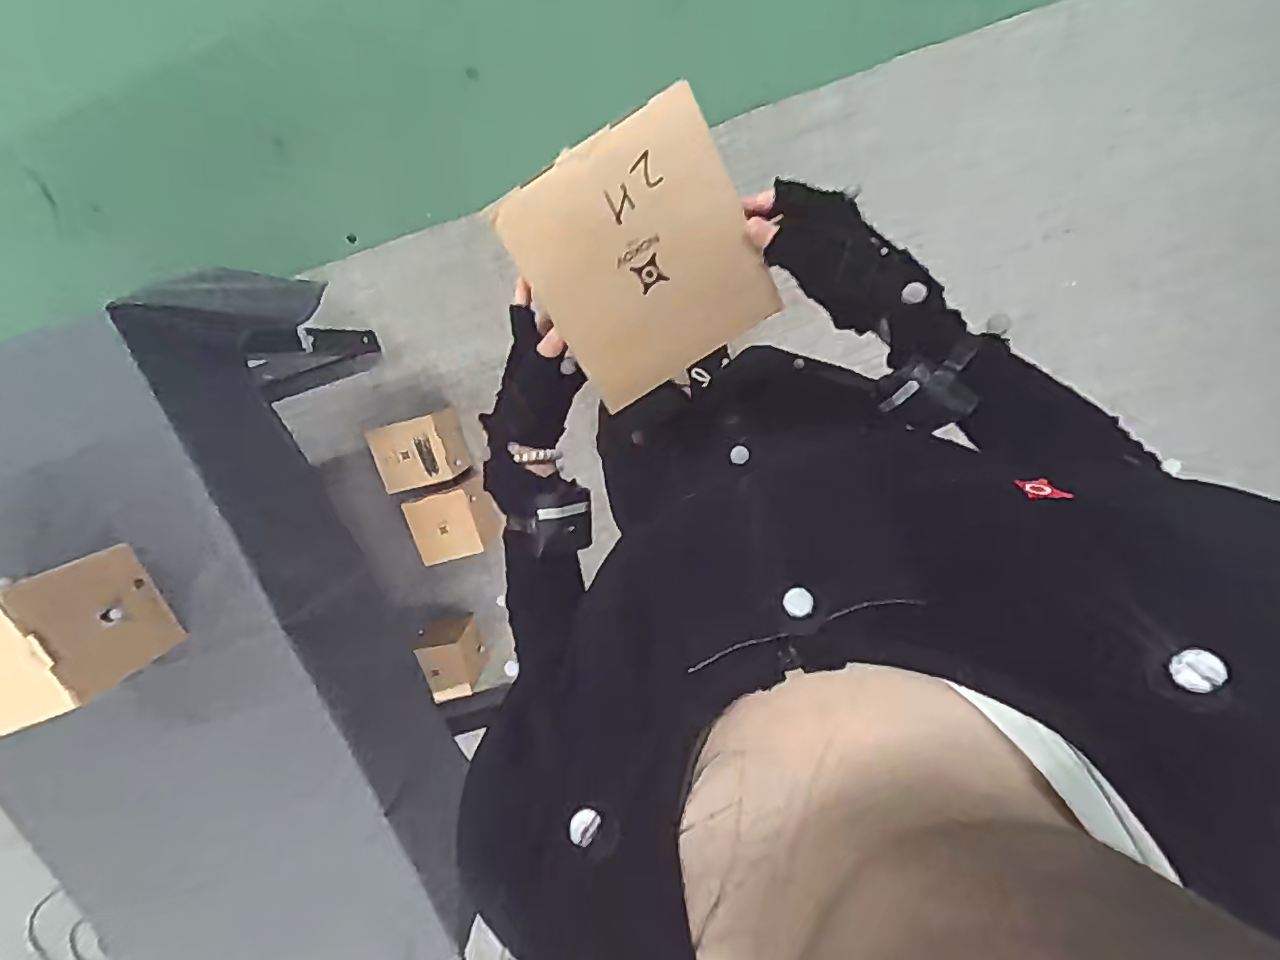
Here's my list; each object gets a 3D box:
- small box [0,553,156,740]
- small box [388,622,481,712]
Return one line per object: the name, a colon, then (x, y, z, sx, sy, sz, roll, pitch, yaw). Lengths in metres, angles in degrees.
small box: (-0.786, 0.214, 0.694, 0.179, 0.176, 0.168, -20, 103, 4)
small box: (-0.570, 0.521, 1.519, 0.179, 0.176, 0.168, -9, 104, 2)
